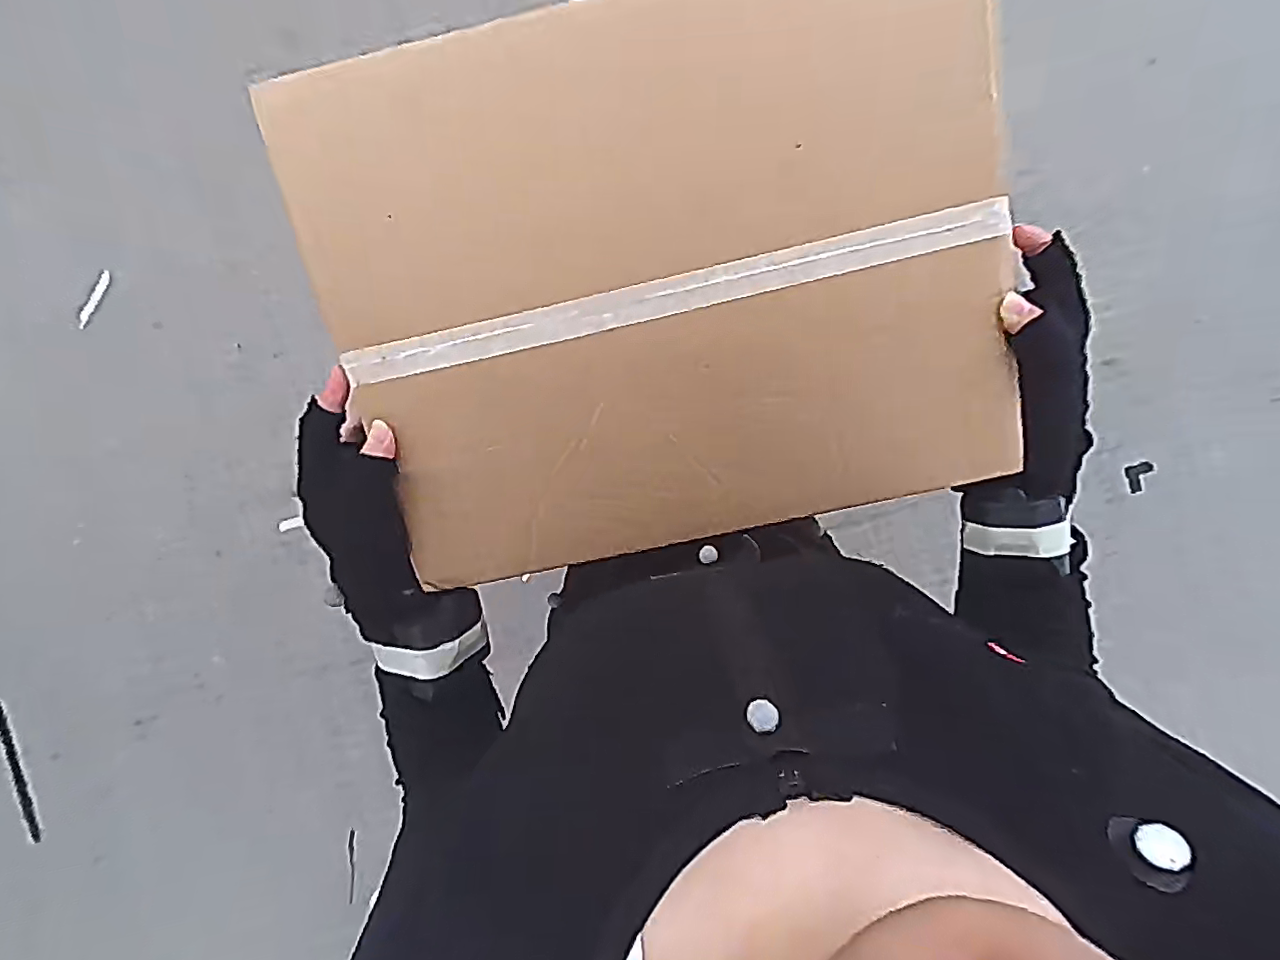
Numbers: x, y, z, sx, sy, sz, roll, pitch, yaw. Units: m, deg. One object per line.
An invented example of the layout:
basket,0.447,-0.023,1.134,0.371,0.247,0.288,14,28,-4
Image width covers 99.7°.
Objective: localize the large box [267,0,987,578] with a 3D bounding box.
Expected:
large box,0.010,-0.154,0.480,0.408,0.320,0.320,-12,103,3
